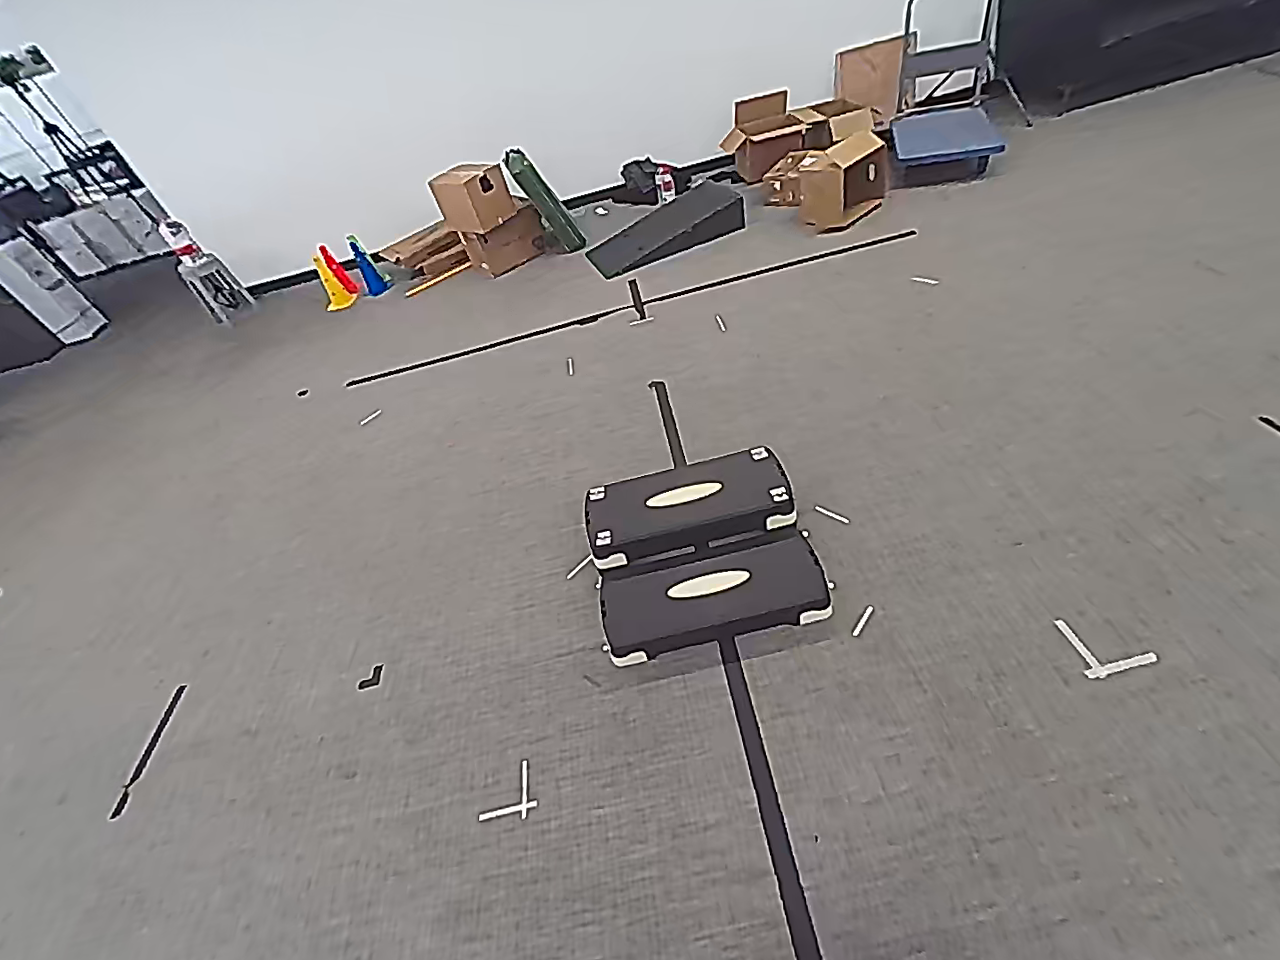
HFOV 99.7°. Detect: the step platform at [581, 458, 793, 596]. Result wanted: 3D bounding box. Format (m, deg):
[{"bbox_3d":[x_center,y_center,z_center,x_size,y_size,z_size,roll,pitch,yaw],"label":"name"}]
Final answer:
[{"bbox_3d":[0.147,0.149,1.796,0.684,0.204,0.286,-14,44,1],"label":"step platform"}]
